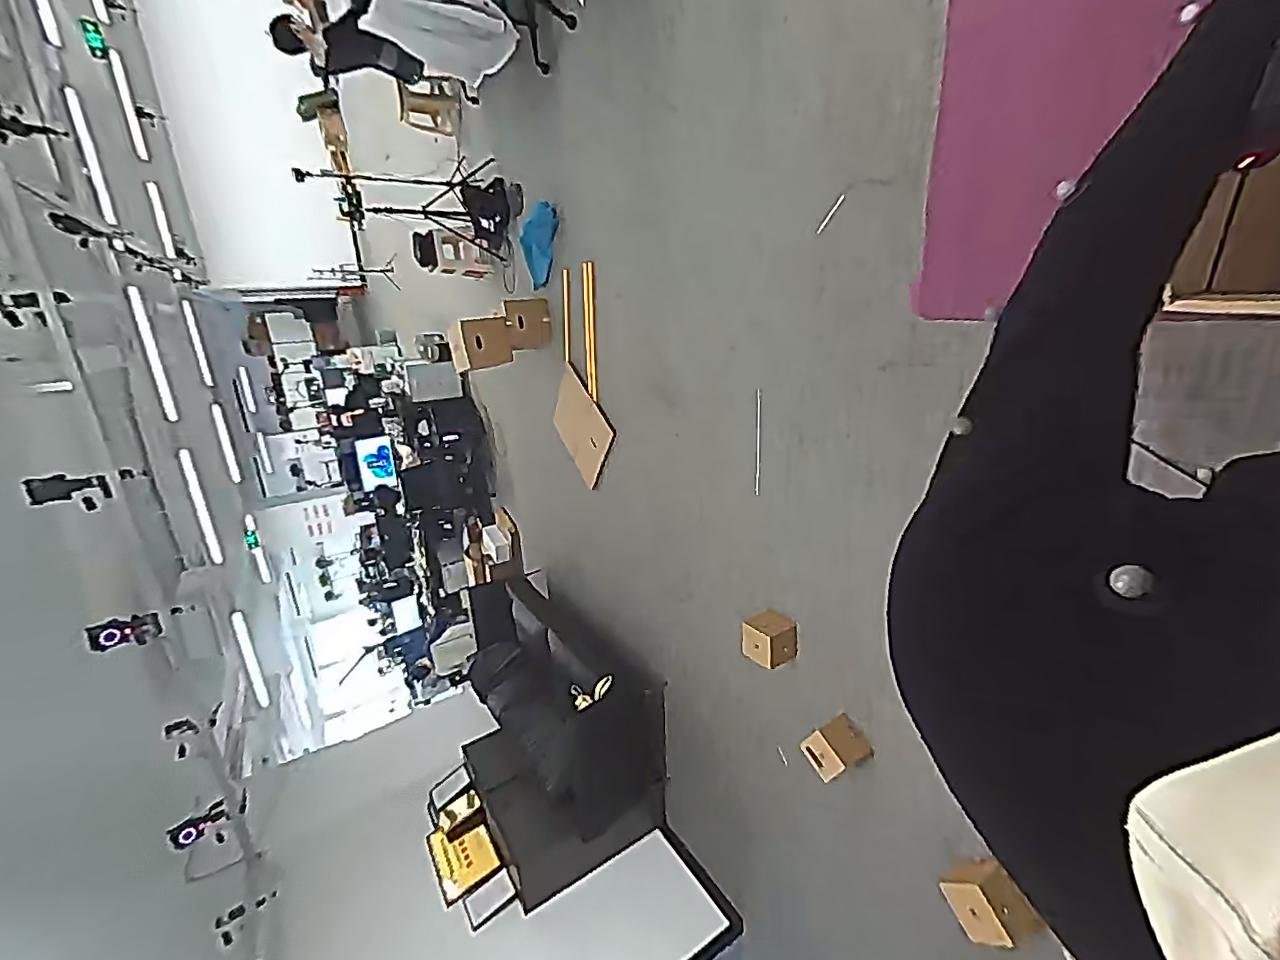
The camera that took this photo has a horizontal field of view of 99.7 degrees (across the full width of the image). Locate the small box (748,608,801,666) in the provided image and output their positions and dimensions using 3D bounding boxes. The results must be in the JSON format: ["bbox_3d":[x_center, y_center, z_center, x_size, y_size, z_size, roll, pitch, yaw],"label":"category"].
[{"bbox_3d":[0.608,0.697,2.430,0.179,0.176,0.168,18,117,56],"label":"small box"}]
